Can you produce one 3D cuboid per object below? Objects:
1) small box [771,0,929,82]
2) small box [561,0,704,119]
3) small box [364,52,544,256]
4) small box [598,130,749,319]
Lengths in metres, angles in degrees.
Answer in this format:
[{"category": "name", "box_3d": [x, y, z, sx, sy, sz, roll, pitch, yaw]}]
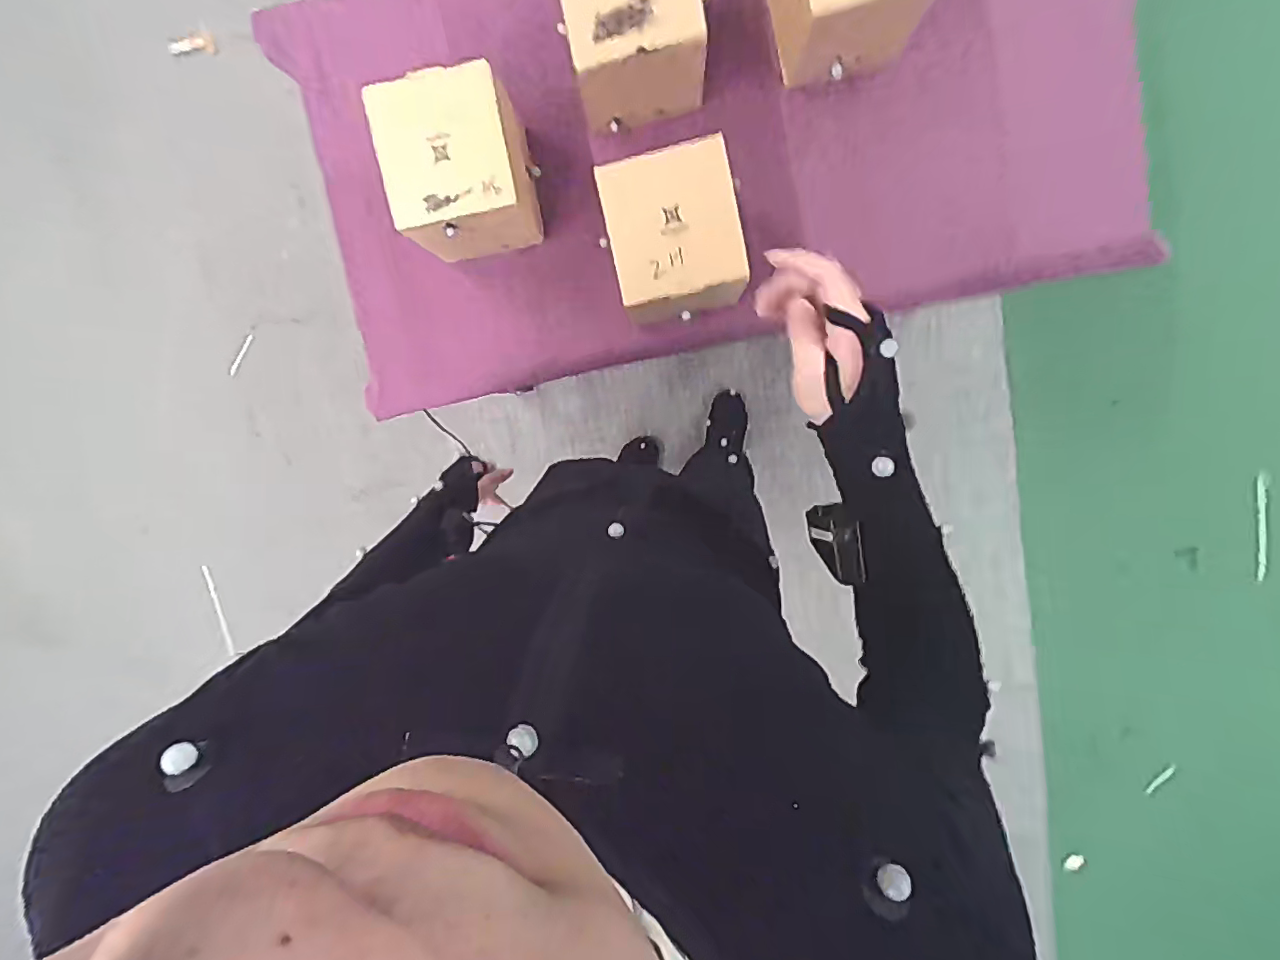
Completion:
[{"category": "small box", "box_3d": [0.266, -0.669, 0.697, 0.168, 0.176, 0.179, -12, 99, 6]}, {"category": "small box", "box_3d": [-0.012, -0.616, 0.718, 0.168, 0.176, 0.179, -12, 97, 4]}, {"category": "small box", "box_3d": [-0.245, -0.437, 0.754, 0.168, 0.176, 0.179, -10, 98, 6]}, {"category": "small box", "box_3d": [0.045, -0.340, 0.755, 0.168, 0.176, 0.179, -12, 97, 5]}]
